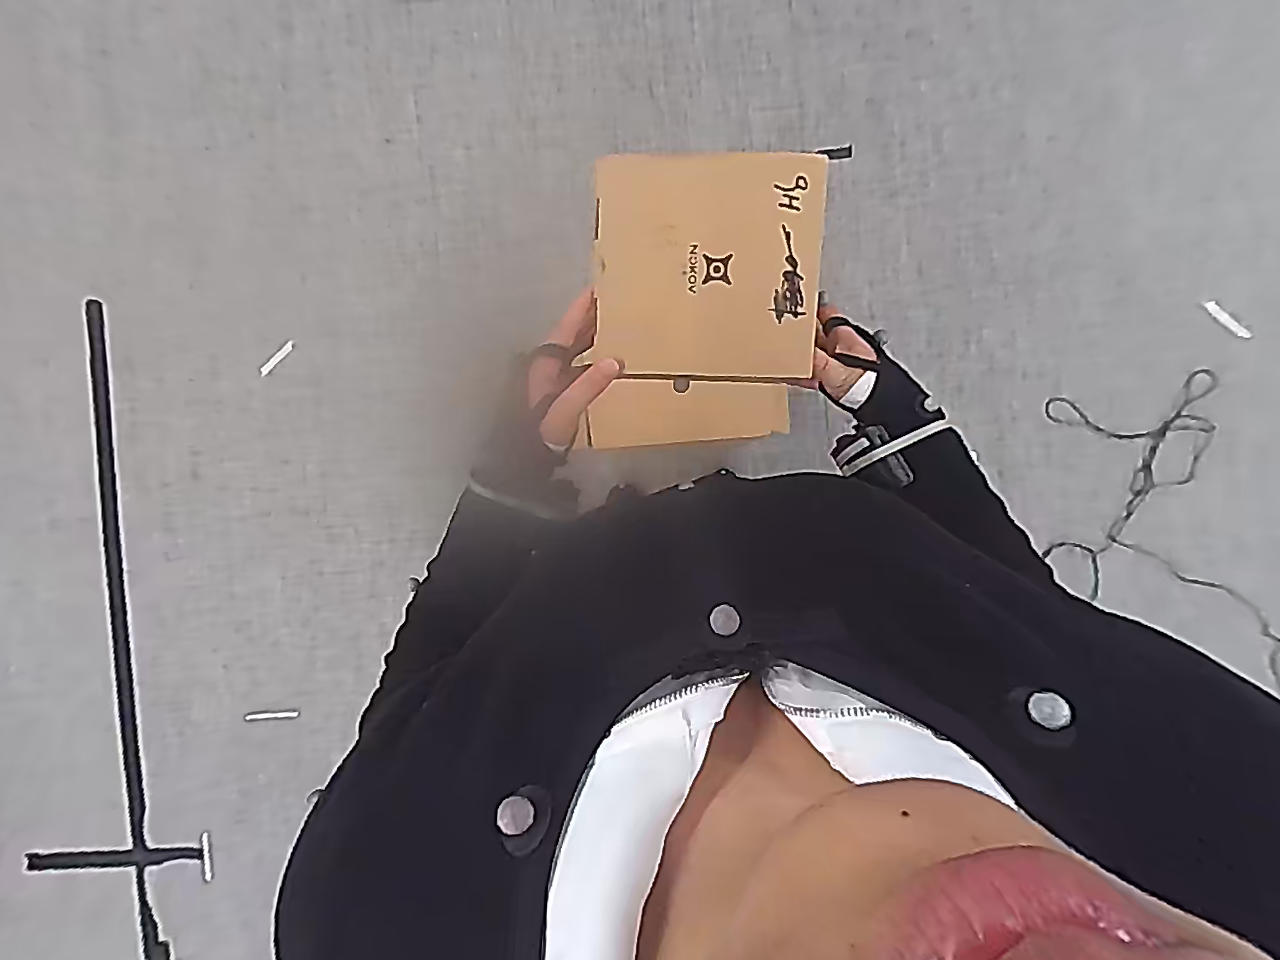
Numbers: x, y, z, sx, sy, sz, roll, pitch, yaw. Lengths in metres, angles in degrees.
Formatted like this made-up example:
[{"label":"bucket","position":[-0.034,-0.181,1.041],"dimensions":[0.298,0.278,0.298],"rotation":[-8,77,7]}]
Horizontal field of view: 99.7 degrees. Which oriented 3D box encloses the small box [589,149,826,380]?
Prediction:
[{"label":"small box","position":[0.056,-0.180,0.499],"dimensions":[0.179,0.176,0.168],"rotation":[3,100,4]}]
